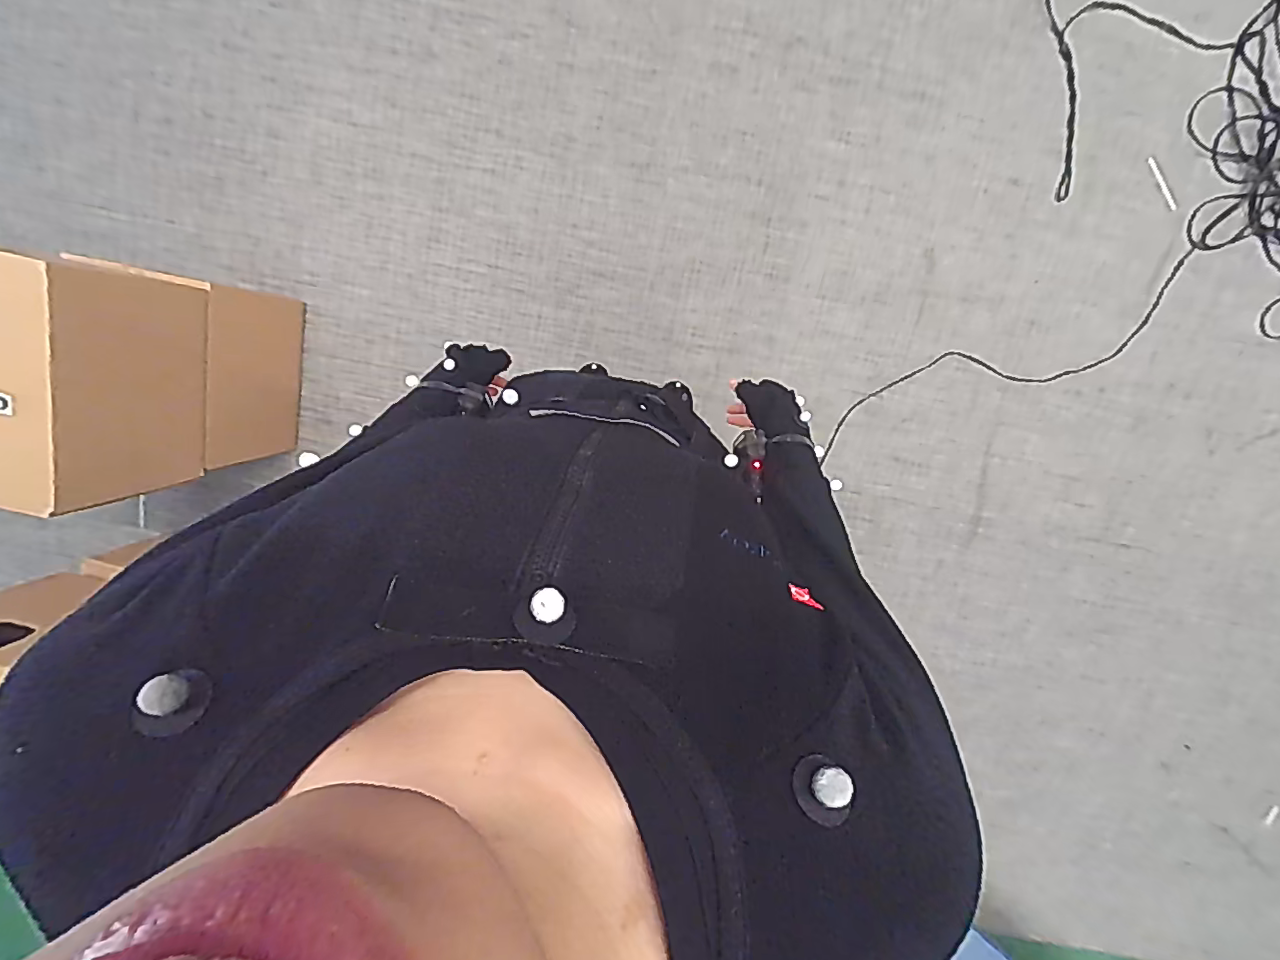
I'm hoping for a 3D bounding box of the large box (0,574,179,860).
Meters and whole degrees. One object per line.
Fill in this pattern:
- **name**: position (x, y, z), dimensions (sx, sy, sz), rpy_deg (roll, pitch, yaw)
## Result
- **large box**: position (-1.235, 0.459, 1.120), dimensions (0.320, 0.320, 0.408), rpy_deg (13, 101, 2)
